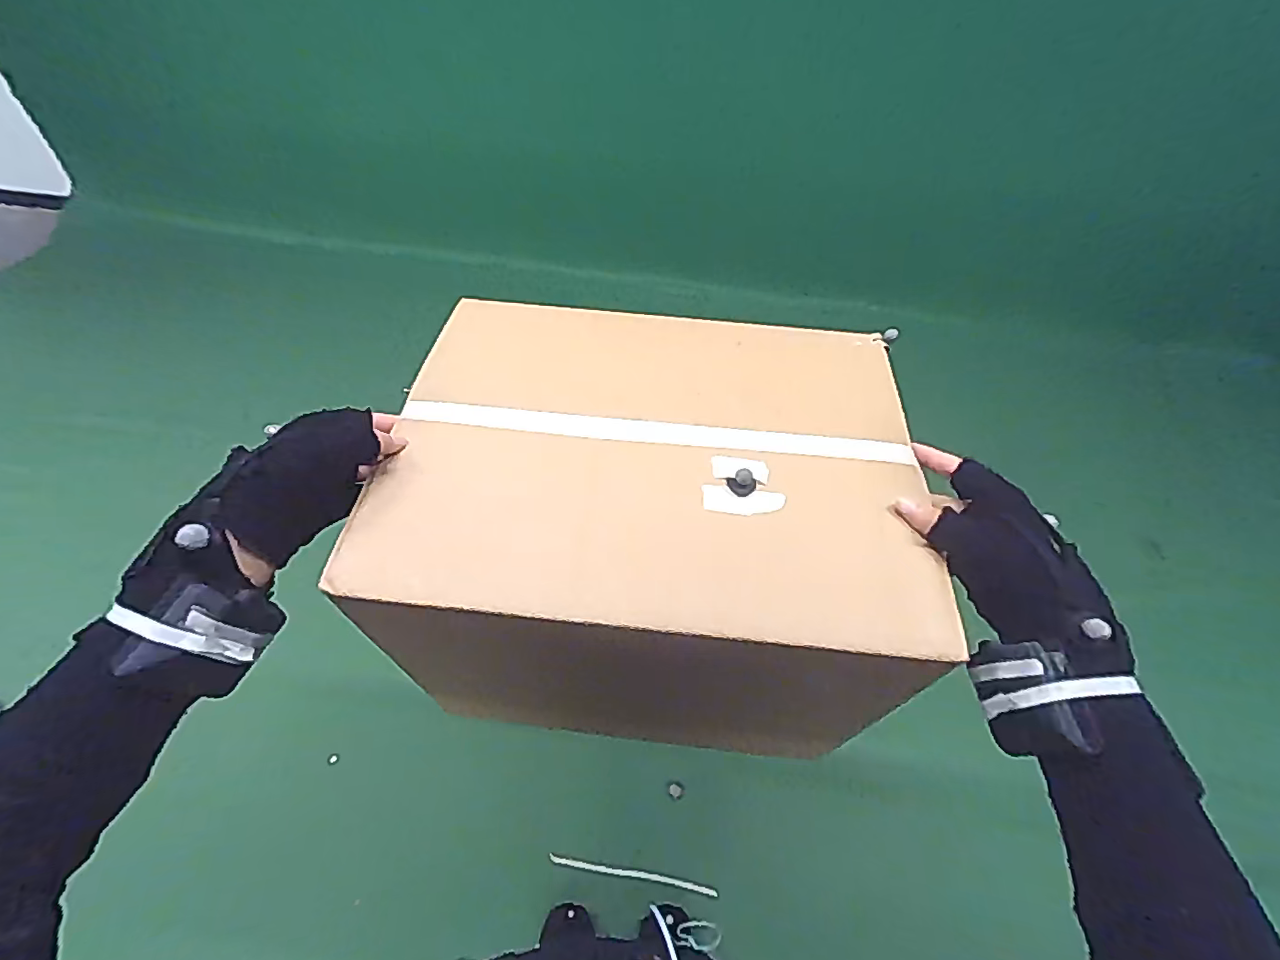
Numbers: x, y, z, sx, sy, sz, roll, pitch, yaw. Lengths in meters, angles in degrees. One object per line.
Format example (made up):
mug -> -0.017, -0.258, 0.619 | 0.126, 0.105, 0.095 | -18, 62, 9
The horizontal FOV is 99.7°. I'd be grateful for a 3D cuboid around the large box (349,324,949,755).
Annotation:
large box -> 0.010, 0.068, 0.558 | 0.408, 0.320, 0.320 | 5, 53, 3
